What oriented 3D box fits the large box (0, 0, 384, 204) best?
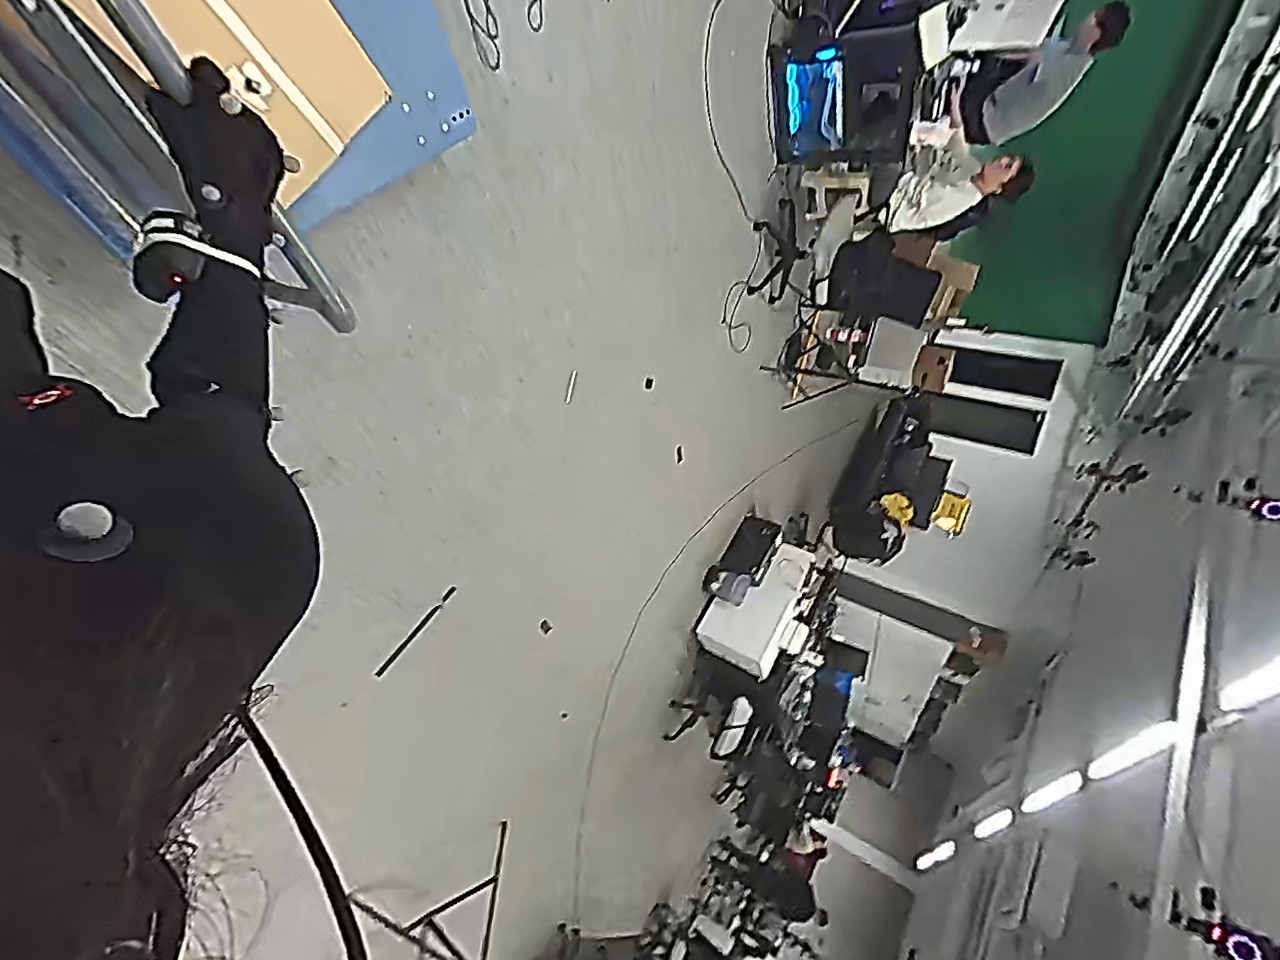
[{"bbox_3d":[-0.718,-0.712,0.842,0.320,0.320,0.408,-60,149,-16],"label":"large box"}]
